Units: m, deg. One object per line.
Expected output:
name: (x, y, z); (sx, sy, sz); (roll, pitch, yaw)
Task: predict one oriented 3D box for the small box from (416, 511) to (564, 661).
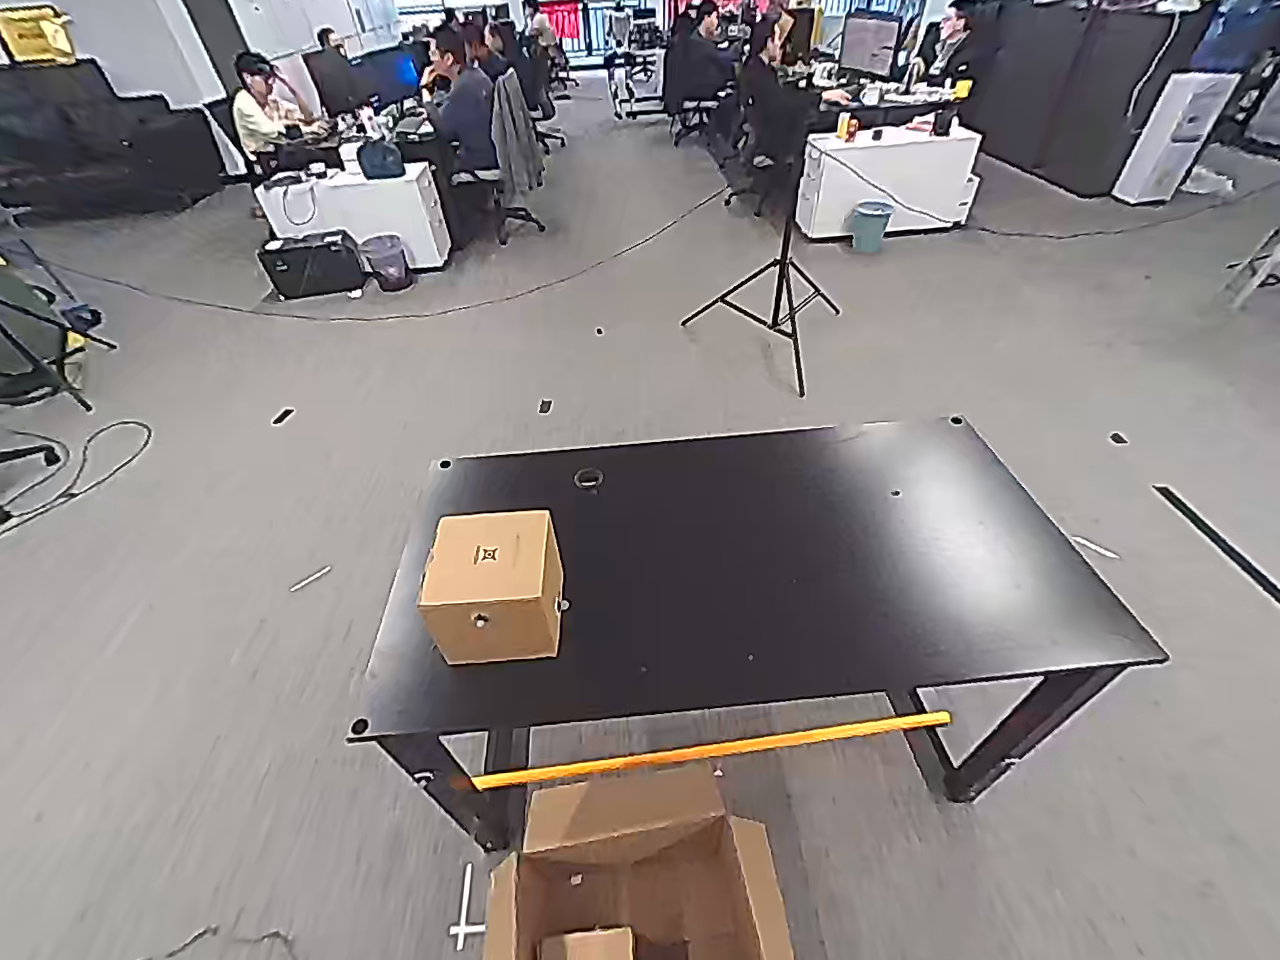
small box: (-0.220, 0.169, 0.846); (0.179, 0.176, 0.168); (-4, 44, -2)
